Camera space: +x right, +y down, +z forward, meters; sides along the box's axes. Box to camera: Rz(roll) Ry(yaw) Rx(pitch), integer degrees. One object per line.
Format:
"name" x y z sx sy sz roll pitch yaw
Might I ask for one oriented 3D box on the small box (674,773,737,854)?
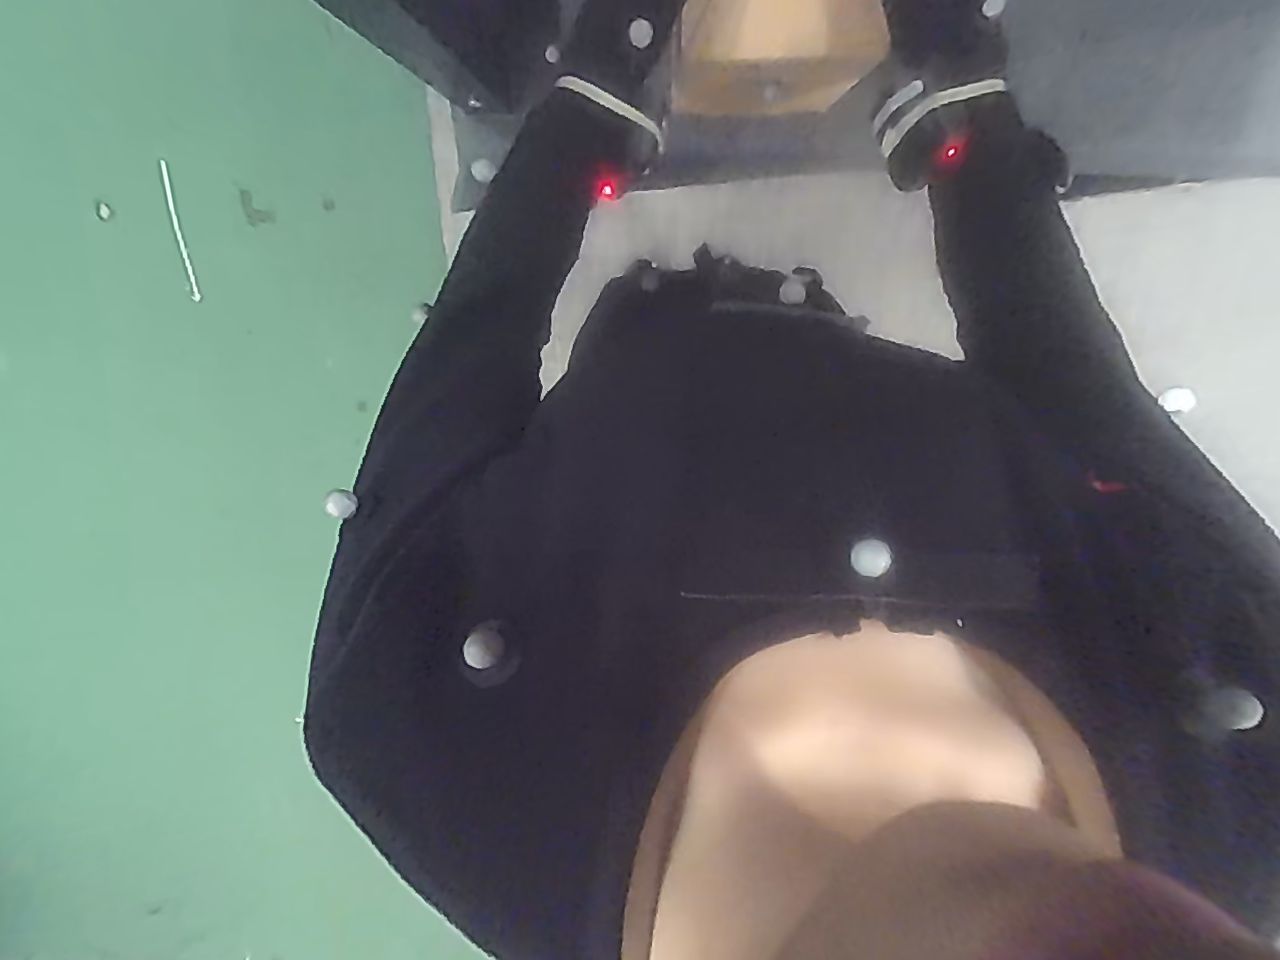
"small box" 0.226 1.175 1.914 0.179 0.176 0.168 16 111 -3

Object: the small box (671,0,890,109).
"small box" 0.112 -0.445 0.467 0.168 0.176 0.179 0 112 2
